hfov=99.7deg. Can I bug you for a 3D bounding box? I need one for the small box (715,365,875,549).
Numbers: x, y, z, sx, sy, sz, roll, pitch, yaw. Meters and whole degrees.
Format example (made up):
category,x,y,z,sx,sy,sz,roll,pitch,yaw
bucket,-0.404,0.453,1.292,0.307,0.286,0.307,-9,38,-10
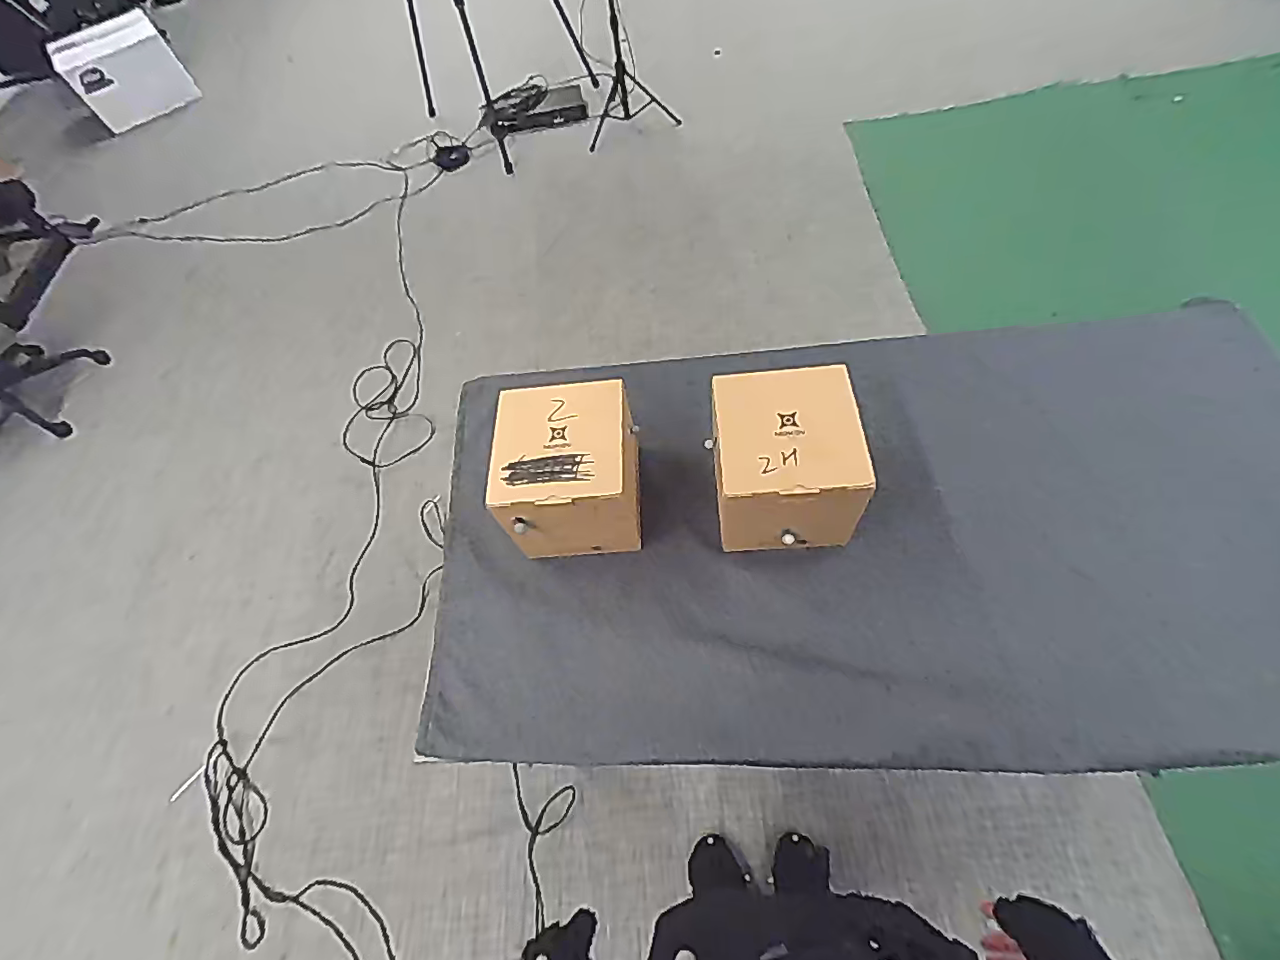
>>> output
category,x,y,z,sx,sy,sz,roll,pitch,yaw
small box,0.186,-0.024,0.706,0.168,0.176,0.179,-4,61,6
